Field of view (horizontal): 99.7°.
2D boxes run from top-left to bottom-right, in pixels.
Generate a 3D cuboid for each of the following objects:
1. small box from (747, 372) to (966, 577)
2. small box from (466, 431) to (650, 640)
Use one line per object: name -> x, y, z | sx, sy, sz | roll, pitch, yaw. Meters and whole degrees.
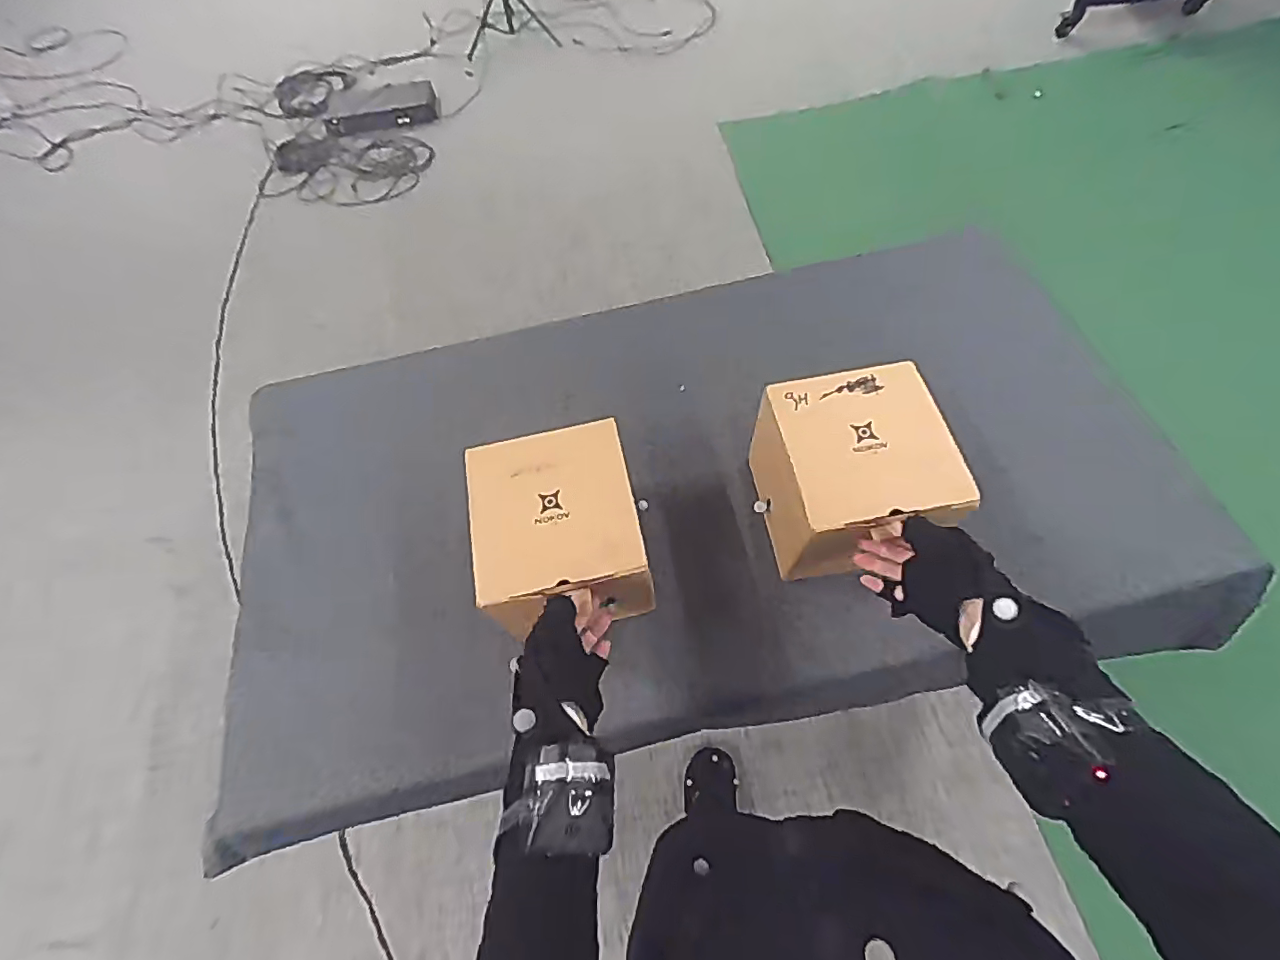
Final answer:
small box -> 0.229, 0.005, 0.628 | 0.168, 0.176, 0.179 | -10, 64, -1
small box -> -0.087, 0.074, 0.621 | 0.168, 0.176, 0.179 | -13, 62, -3
